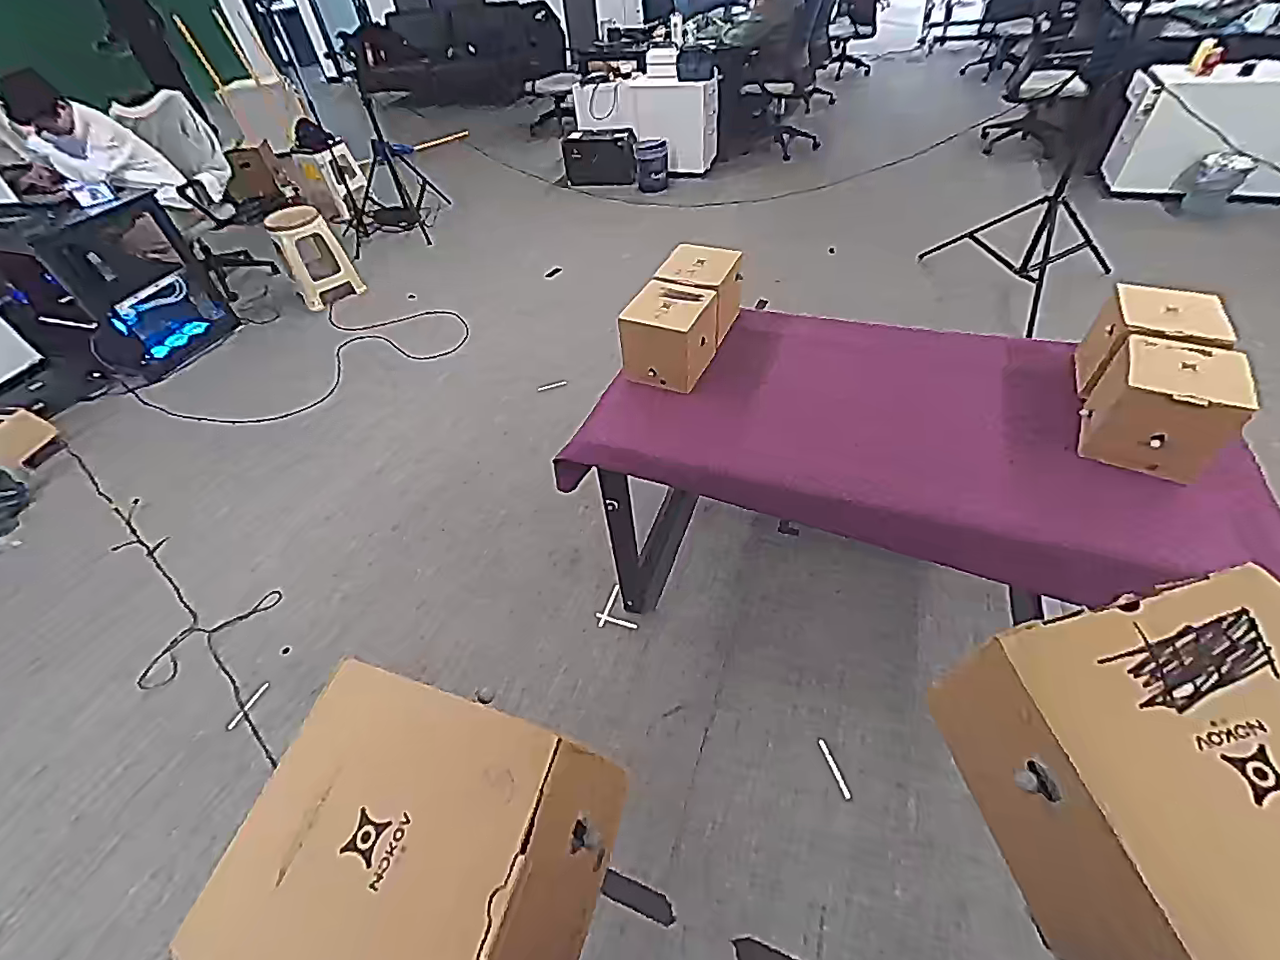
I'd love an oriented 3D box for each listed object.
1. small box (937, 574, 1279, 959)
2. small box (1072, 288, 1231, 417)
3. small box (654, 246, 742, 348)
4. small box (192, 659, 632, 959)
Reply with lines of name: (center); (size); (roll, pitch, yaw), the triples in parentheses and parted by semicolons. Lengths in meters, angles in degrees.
small box: (0.326, 0.188, 0.344); (0.168, 0.176, 0.179); (-16, 56, 1)
small box: (0.997, -0.254, 1.077); (0.168, 0.176, 0.179); (17, 50, 19)
small box: (0.145, -0.458, 1.353); (0.168, 0.176, 0.179); (16, 52, 20)
small box: (-0.121, 0.245, 0.365); (0.179, 0.176, 0.168); (8, 57, 22)
